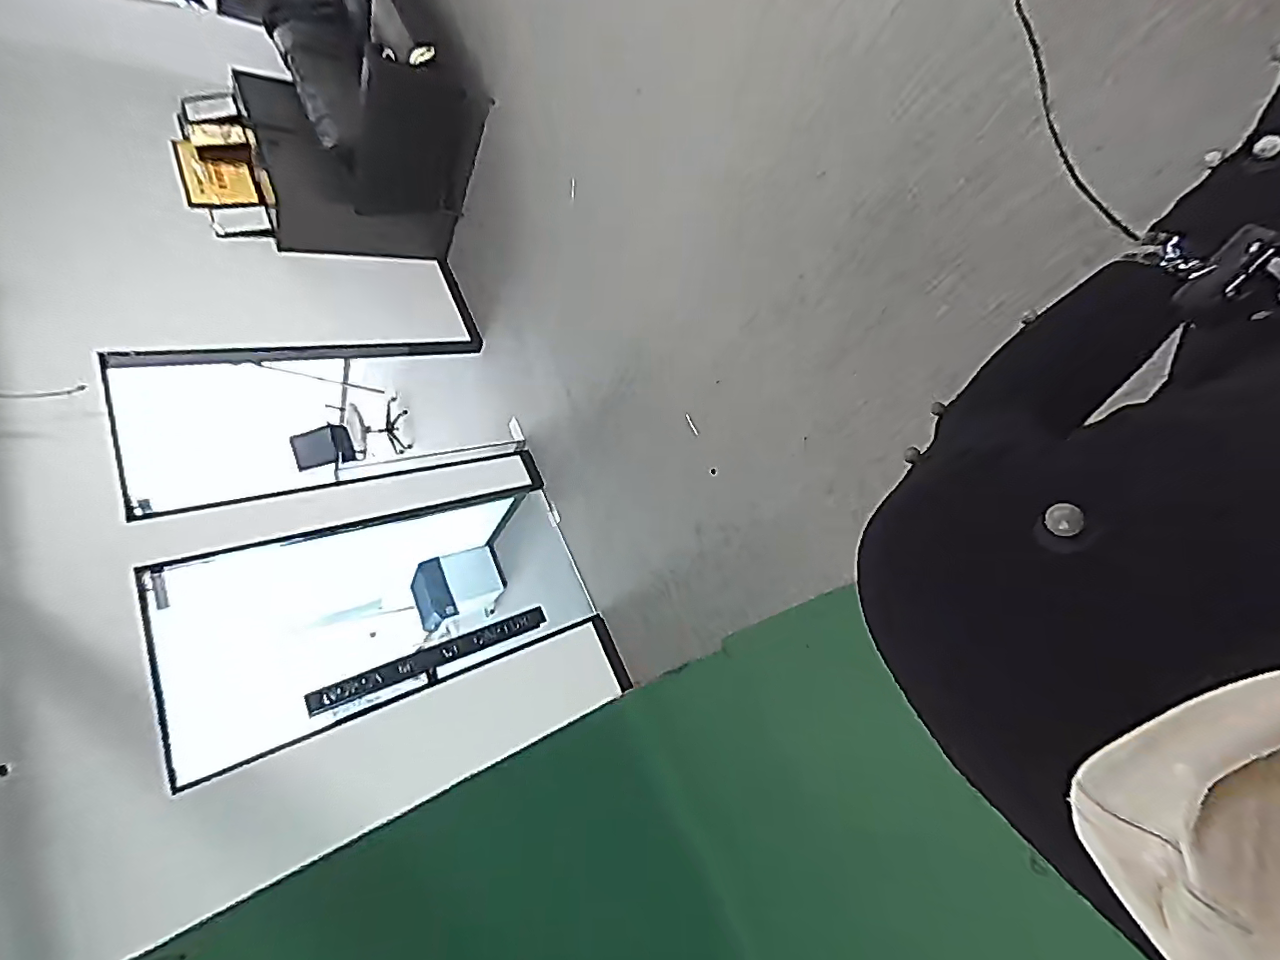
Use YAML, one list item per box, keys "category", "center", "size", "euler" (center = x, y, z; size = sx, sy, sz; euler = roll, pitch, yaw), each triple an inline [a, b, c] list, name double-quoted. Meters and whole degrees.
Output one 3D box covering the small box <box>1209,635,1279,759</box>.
- category: "small box"
  center: [1.297, 0.422, 1.069]
  size: [0.168, 0.176, 0.179]
  euler: [-42, 67, 48]
